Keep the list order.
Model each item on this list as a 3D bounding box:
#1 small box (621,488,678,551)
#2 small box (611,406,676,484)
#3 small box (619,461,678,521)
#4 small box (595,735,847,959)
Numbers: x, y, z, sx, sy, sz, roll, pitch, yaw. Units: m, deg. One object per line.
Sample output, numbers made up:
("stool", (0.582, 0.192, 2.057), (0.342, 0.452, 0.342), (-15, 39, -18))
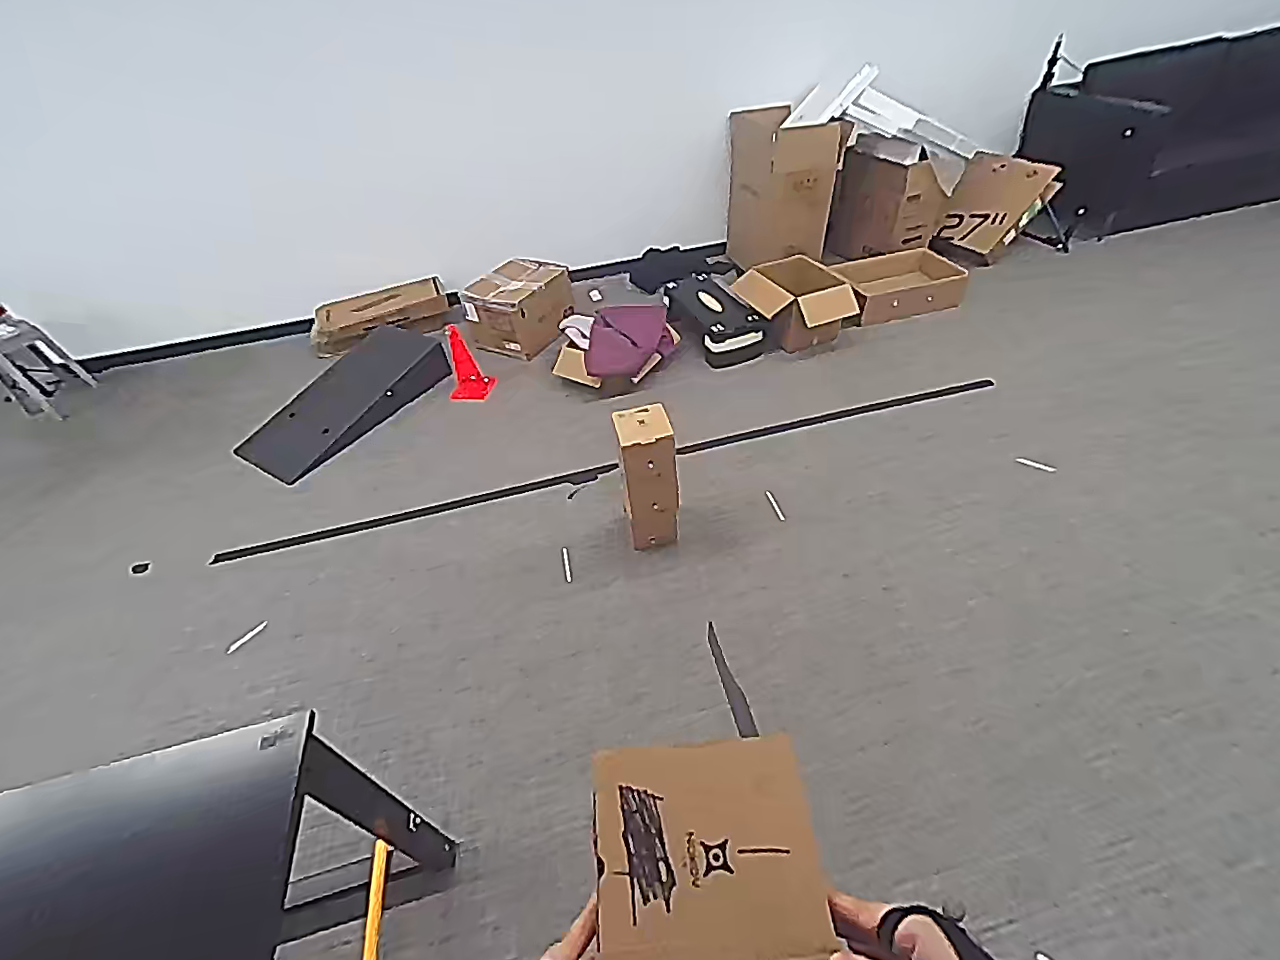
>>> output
("small box", (0.034, 0.127, 1.943), (0.168, 0.176, 0.179), (-13, 45, -5))
("small box", (0.013, -0.105, 1.710), (0.168, 0.176, 0.179), (-12, 44, -5))
("small box", (0.028, 0.012, 1.824), (0.168, 0.176, 0.179), (-13, 44, -5))
("small box", (0.057, 0.343, 0.482), (0.179, 0.176, 0.168), (-5, 52, -2))
